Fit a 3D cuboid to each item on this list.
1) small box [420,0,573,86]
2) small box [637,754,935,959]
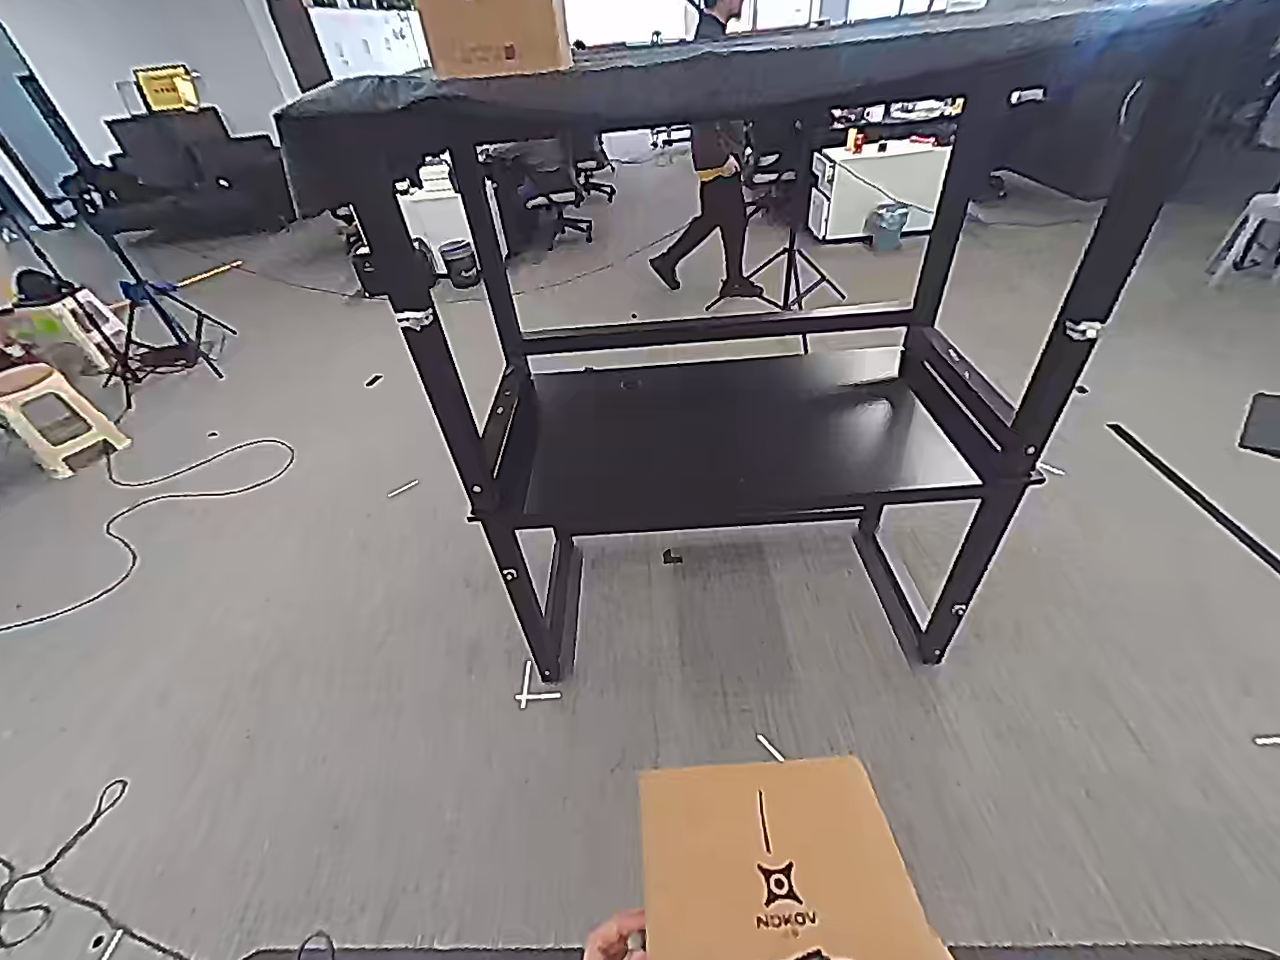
[{"bbox_3d":[-0.184,-0.628,0.708,0.168,0.176,0.179,-3,38,2],"label":"small box"},{"bbox_3d":[0.086,0.321,0.368,0.168,0.176,0.179,-3,31,0],"label":"small box"}]
